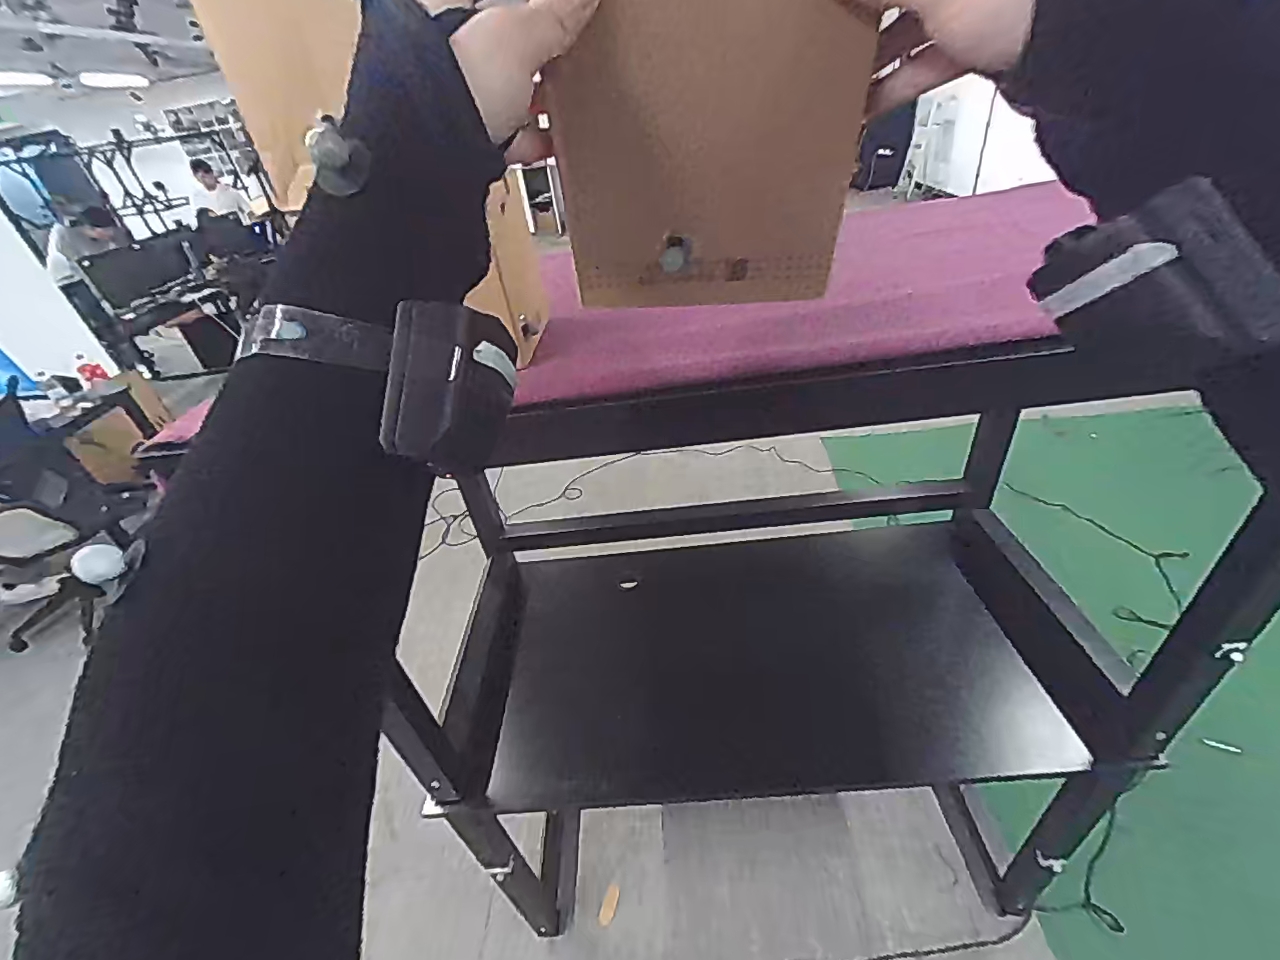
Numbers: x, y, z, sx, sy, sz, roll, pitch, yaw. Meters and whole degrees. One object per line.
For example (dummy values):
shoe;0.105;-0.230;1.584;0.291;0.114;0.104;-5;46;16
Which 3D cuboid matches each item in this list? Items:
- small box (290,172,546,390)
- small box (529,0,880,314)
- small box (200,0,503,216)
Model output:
small box;-0.209;-0.211;0.574;0.179;0.176;0.168;-7;34;5
small box;0.037;-0.231;0.361;0.168;0.176;0.179;-2;49;5
small box;-0.236;-0.348;0.491;0.168;0.176;0.179;-6;34;5
